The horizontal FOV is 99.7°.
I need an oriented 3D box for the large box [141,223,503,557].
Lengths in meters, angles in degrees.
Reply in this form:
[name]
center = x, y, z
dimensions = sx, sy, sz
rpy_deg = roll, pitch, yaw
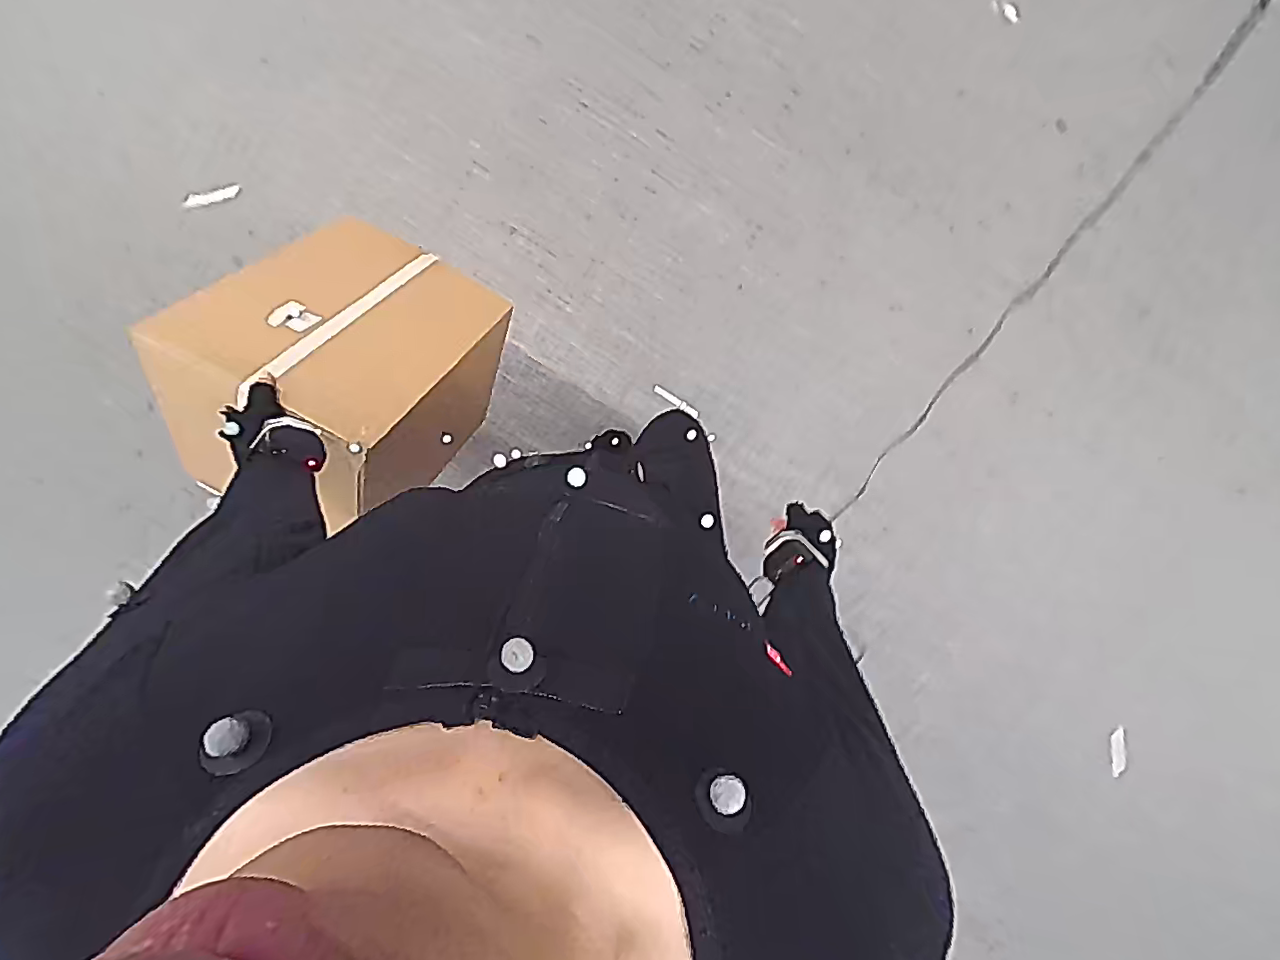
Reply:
[large box]
center = -0.485, -0.152, 0.921
dimensions = 0.320, 0.408, 0.320
rpy_deg = 28, 139, -4
